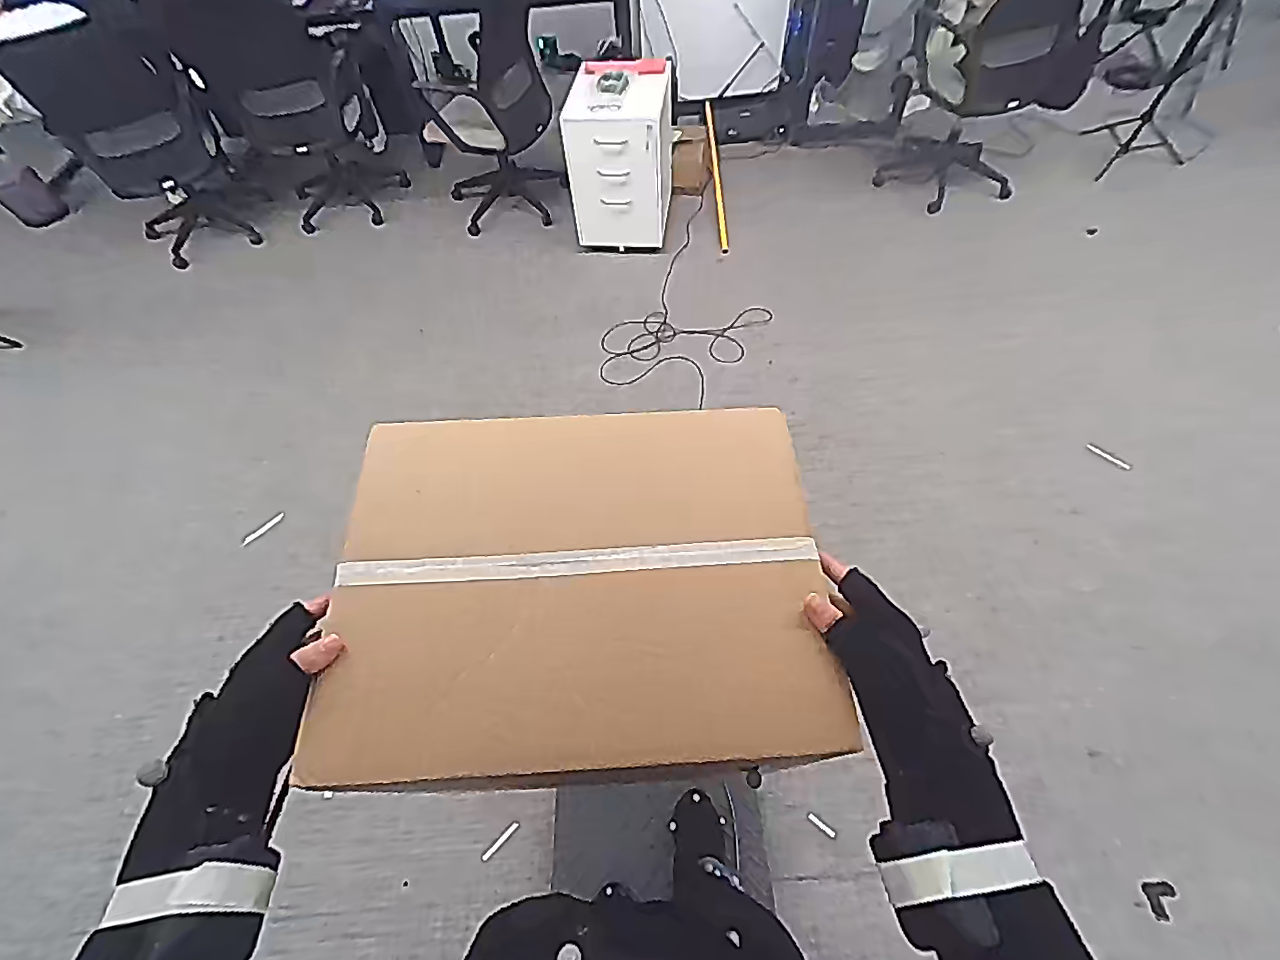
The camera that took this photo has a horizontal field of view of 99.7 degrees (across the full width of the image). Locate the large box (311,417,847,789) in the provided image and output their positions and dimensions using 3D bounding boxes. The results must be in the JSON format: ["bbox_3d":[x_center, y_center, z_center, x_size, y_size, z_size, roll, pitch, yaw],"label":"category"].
[{"bbox_3d":[-0.051,0.151,0.599,0.408,0.320,0.320,-2,59,-2],"label":"large box"}]
